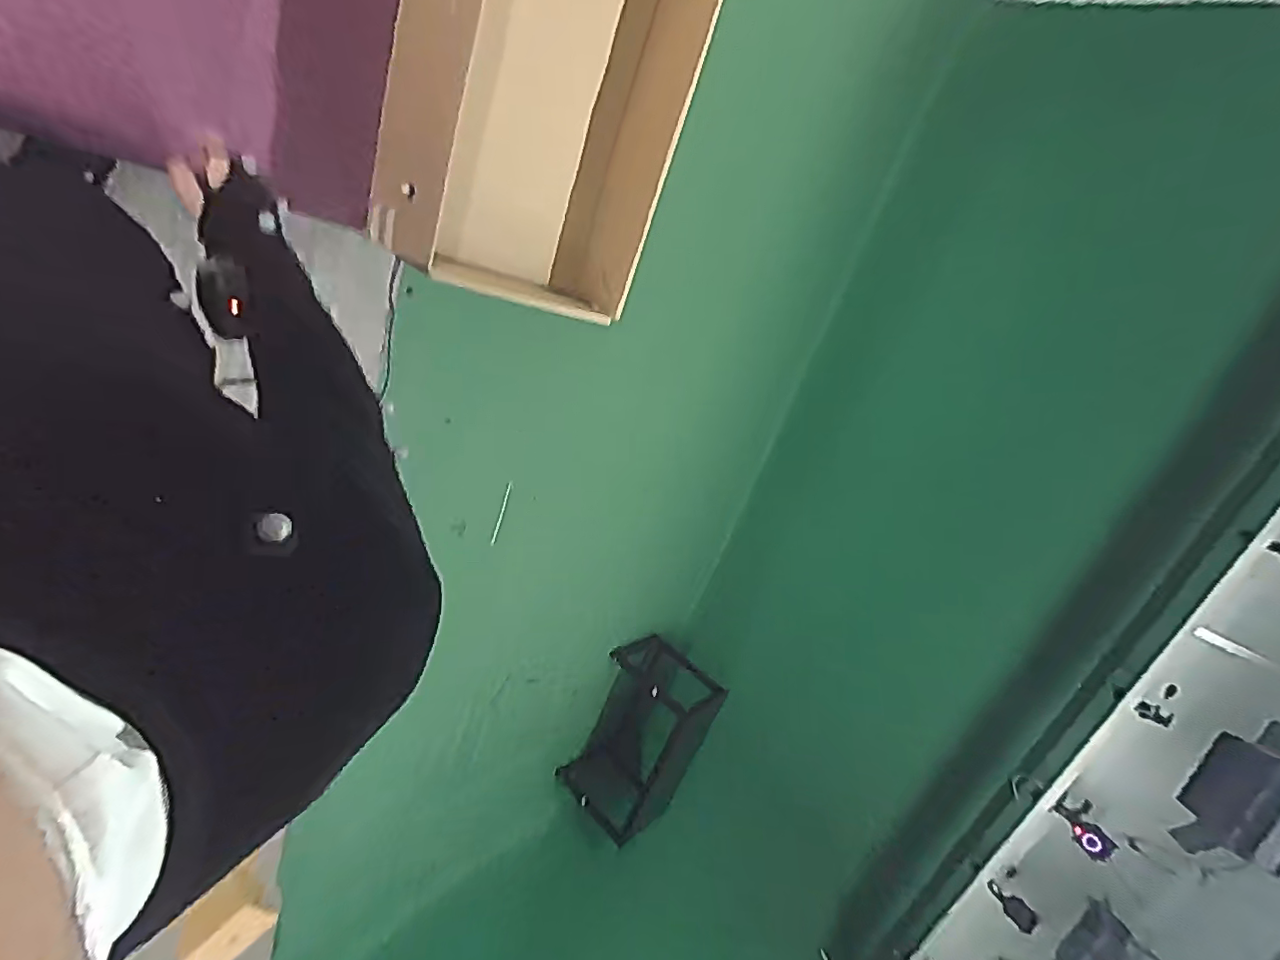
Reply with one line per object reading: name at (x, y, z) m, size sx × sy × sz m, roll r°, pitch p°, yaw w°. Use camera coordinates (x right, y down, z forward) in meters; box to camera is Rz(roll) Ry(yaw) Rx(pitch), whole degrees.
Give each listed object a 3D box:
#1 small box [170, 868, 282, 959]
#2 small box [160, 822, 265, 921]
small box at (-1.146, 1.228, 1.500) m, size 0.168 × 0.176 × 0.179 m, roll -38°, pitch 141°, yaw -31°
small box at (-1.262, 1.161, 1.592) m, size 0.179 × 0.176 × 0.168 m, roll -38°, pitch 143°, yaw -30°
